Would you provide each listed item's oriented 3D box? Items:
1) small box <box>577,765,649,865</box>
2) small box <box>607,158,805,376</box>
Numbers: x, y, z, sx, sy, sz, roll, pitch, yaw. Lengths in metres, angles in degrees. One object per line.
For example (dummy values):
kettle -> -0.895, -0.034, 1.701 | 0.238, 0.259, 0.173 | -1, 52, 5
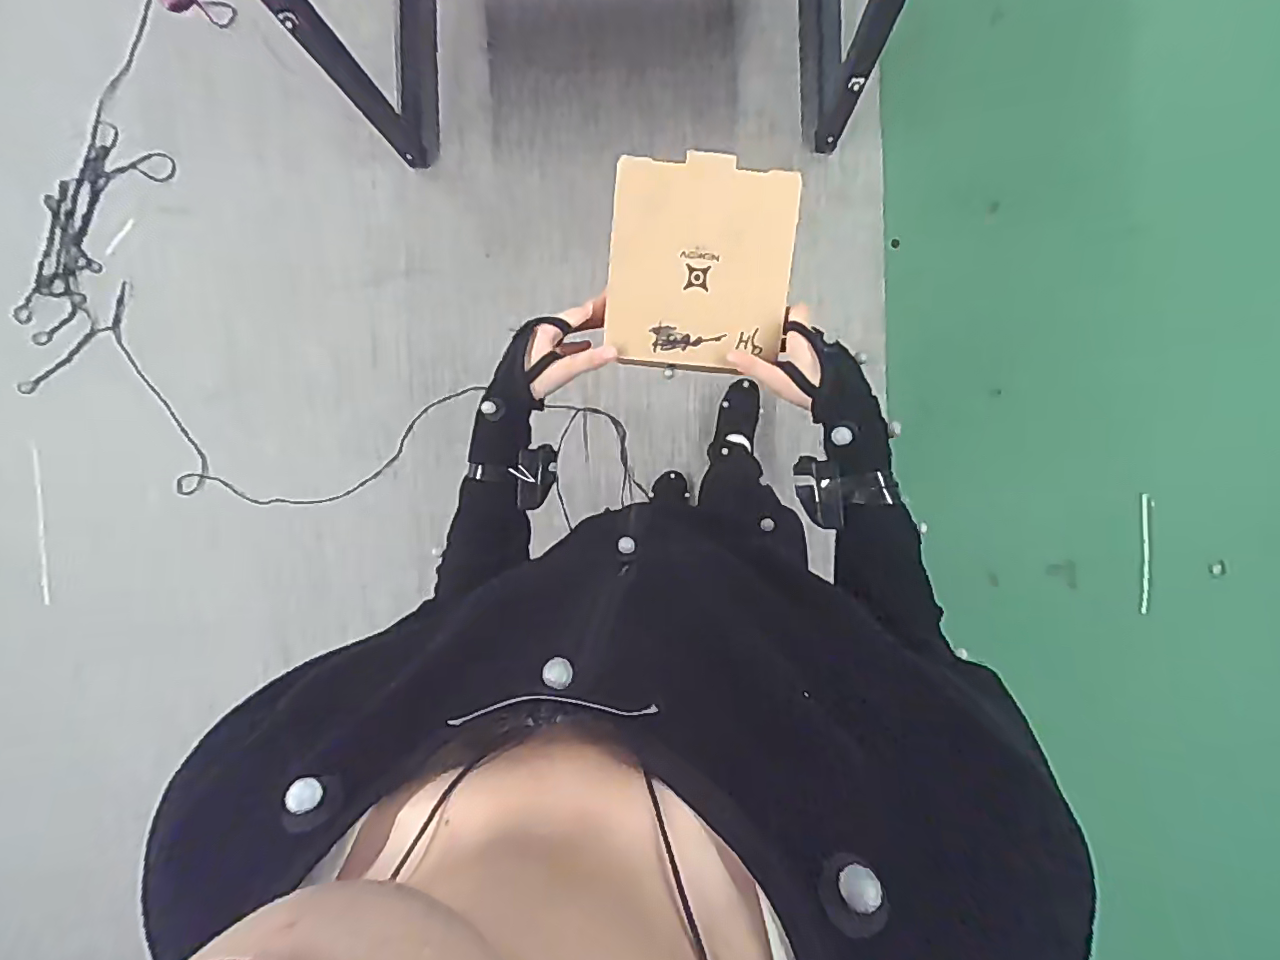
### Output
small box -> -0.071, 0.869, 1.415 | 0.179, 0.176, 0.168 | -7, 89, 7
small box -> 0.060, -0.207, 0.571 | 0.168, 0.176, 0.179 | 6, 101, 2
